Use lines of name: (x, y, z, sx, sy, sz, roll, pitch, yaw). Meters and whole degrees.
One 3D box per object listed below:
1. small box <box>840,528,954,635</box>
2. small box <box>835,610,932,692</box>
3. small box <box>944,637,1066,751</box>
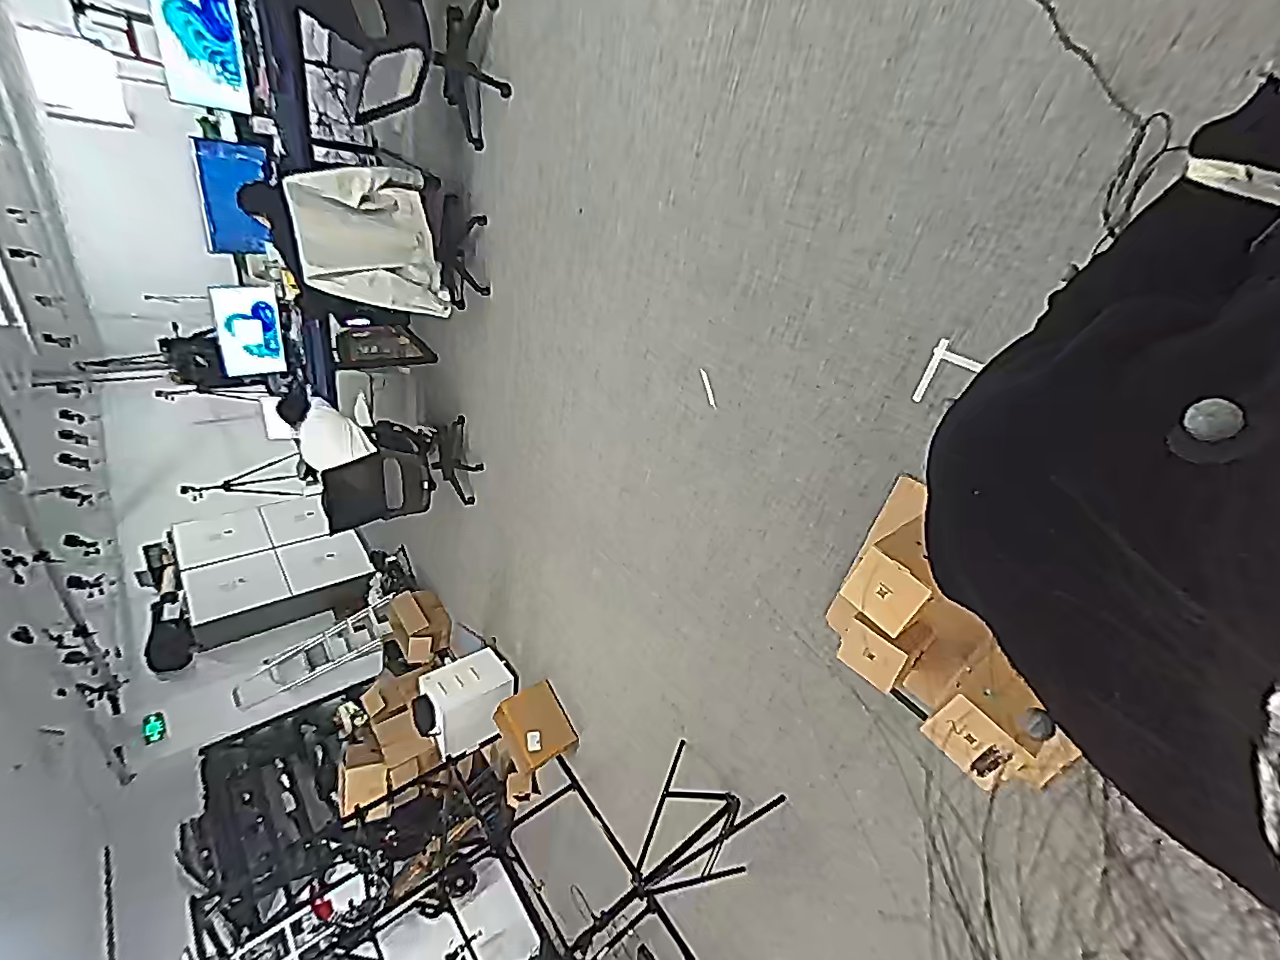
small box: (0.644, 0.248, 1.351, 0.168, 0.176, 0.179, 43, 131, 33)
small box: (0.720, 0.482, 1.602, 0.179, 0.176, 0.168, 36, 129, 39)
small box: (0.926, 0.534, 1.368, 0.179, 0.176, 0.168, 47, 134, 28)
